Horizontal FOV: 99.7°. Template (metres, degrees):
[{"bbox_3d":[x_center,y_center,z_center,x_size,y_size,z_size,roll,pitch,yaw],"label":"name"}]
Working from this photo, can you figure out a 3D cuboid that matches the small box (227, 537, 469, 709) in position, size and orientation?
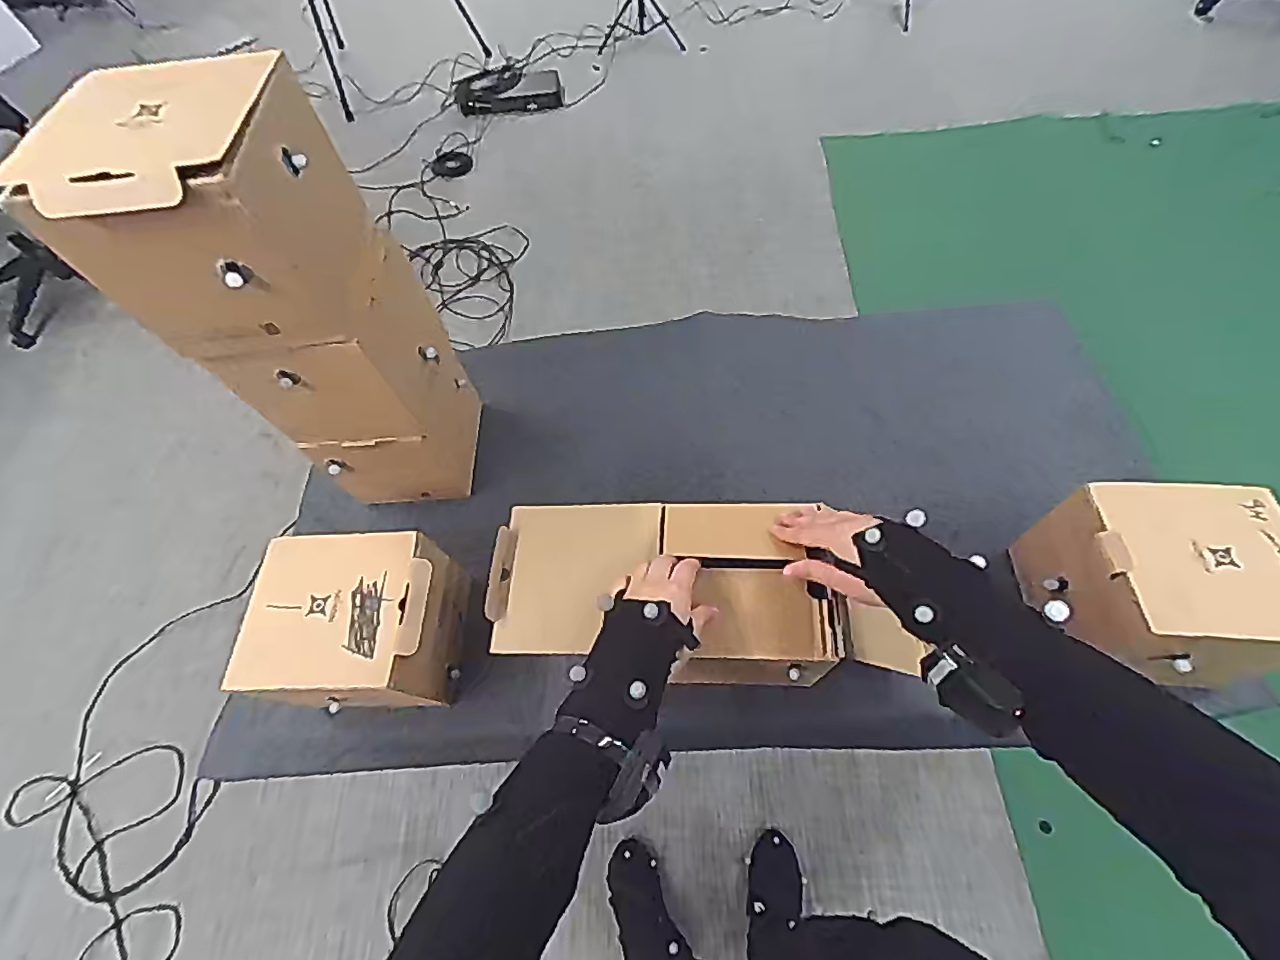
[{"bbox_3d":[-0.319,0.174,0.638,0.179,0.176,0.168,-3,62,4],"label":"small box"}]

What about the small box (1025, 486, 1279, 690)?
[{"bbox_3d":[0.554,0.120,0.581,0.179,0.176,0.168,2,58,7],"label":"small box"}]

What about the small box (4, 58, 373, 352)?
[{"bbox_3d":[-0.366,-0.231,0.485,0.168,0.176,0.179,-6,61,0],"label":"small box"}]

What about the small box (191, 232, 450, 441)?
[{"bbox_3d":[-0.346,-0.156,0.628,0.179,0.176,0.168,-3,63,3],"label":"small box"}]
